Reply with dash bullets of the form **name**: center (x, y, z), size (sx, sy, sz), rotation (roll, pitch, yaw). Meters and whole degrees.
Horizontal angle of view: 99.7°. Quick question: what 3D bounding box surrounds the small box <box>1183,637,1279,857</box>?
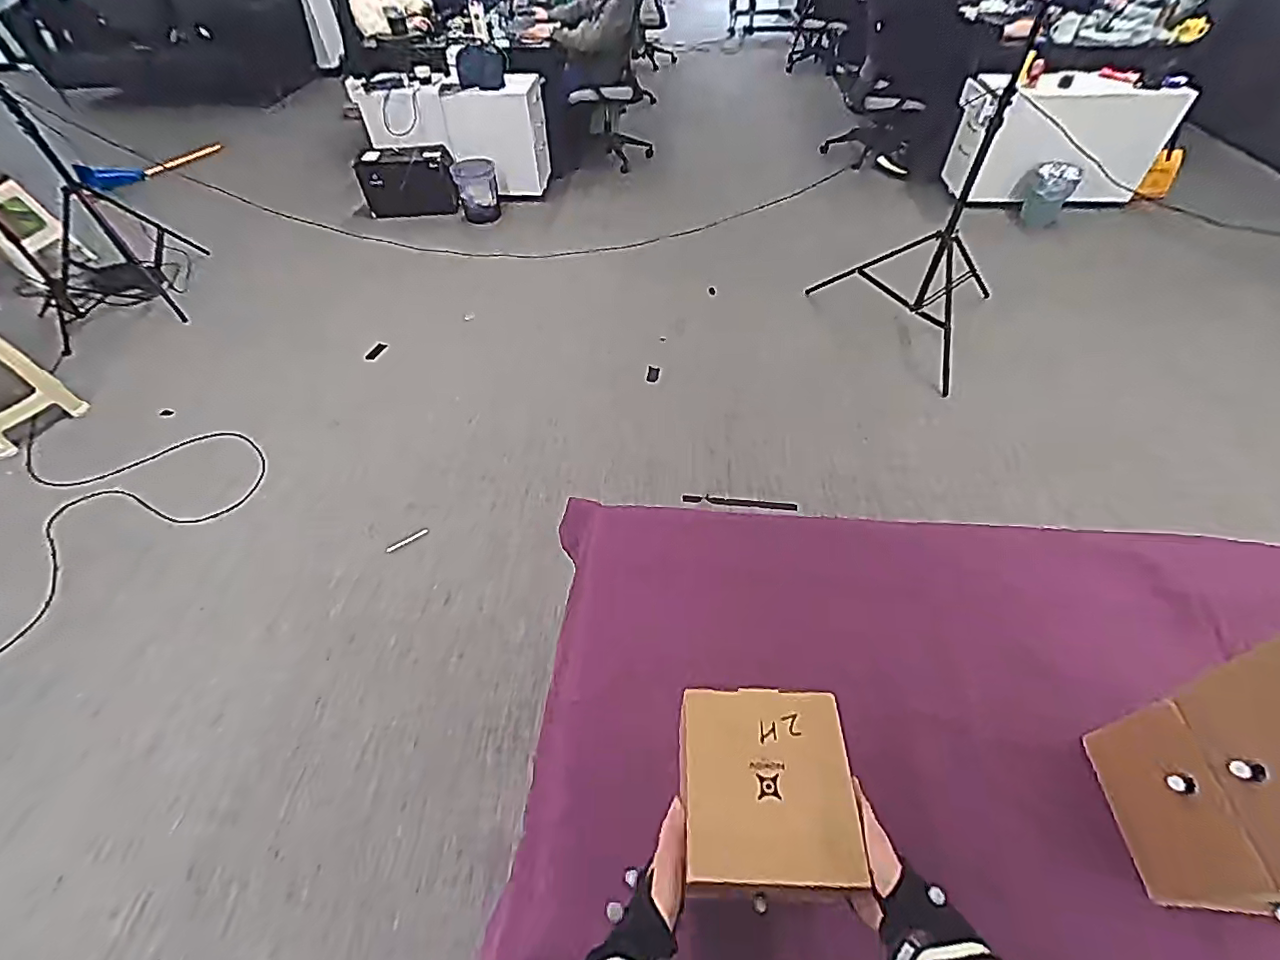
- **small box**: center (0.653, 0.245, 0.467), size (0.168, 0.176, 0.179), rotation (3, 49, 5)

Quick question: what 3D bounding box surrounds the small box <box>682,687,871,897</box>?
- **small box**: center (0.133, 0.349, 0.601), size (0.168, 0.176, 0.179), rotation (0, 49, 2)

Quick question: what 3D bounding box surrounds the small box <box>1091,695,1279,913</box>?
- **small box**: center (0.656, 0.355, 0.588), size (0.168, 0.176, 0.179), rotation (3, 49, 4)
